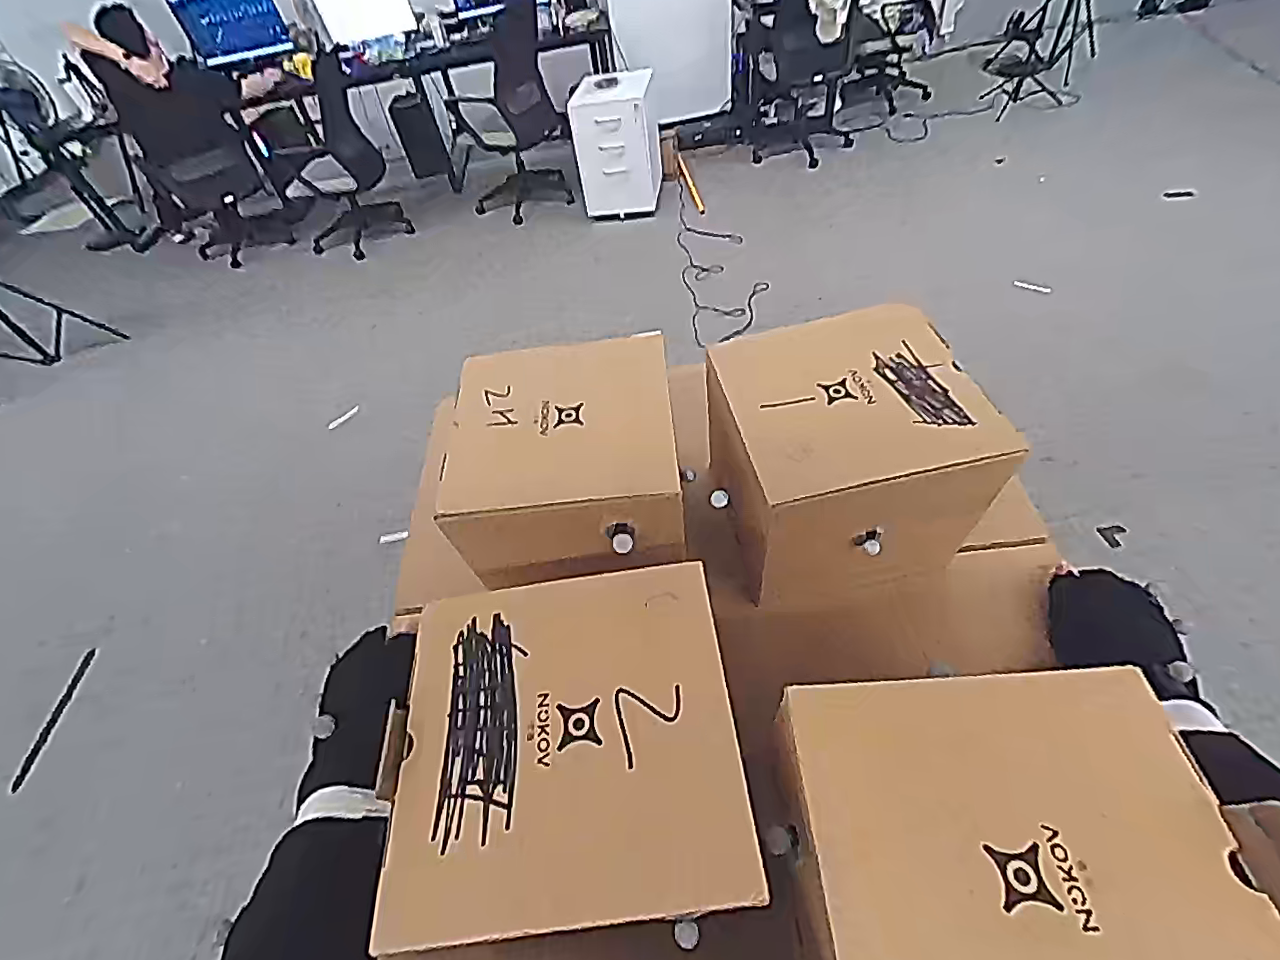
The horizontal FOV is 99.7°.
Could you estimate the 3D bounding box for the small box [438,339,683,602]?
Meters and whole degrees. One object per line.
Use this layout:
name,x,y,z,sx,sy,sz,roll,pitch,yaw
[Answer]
small box,-0.054,-0.001,0.494,0.179,0.176,0.168,-7,53,5
